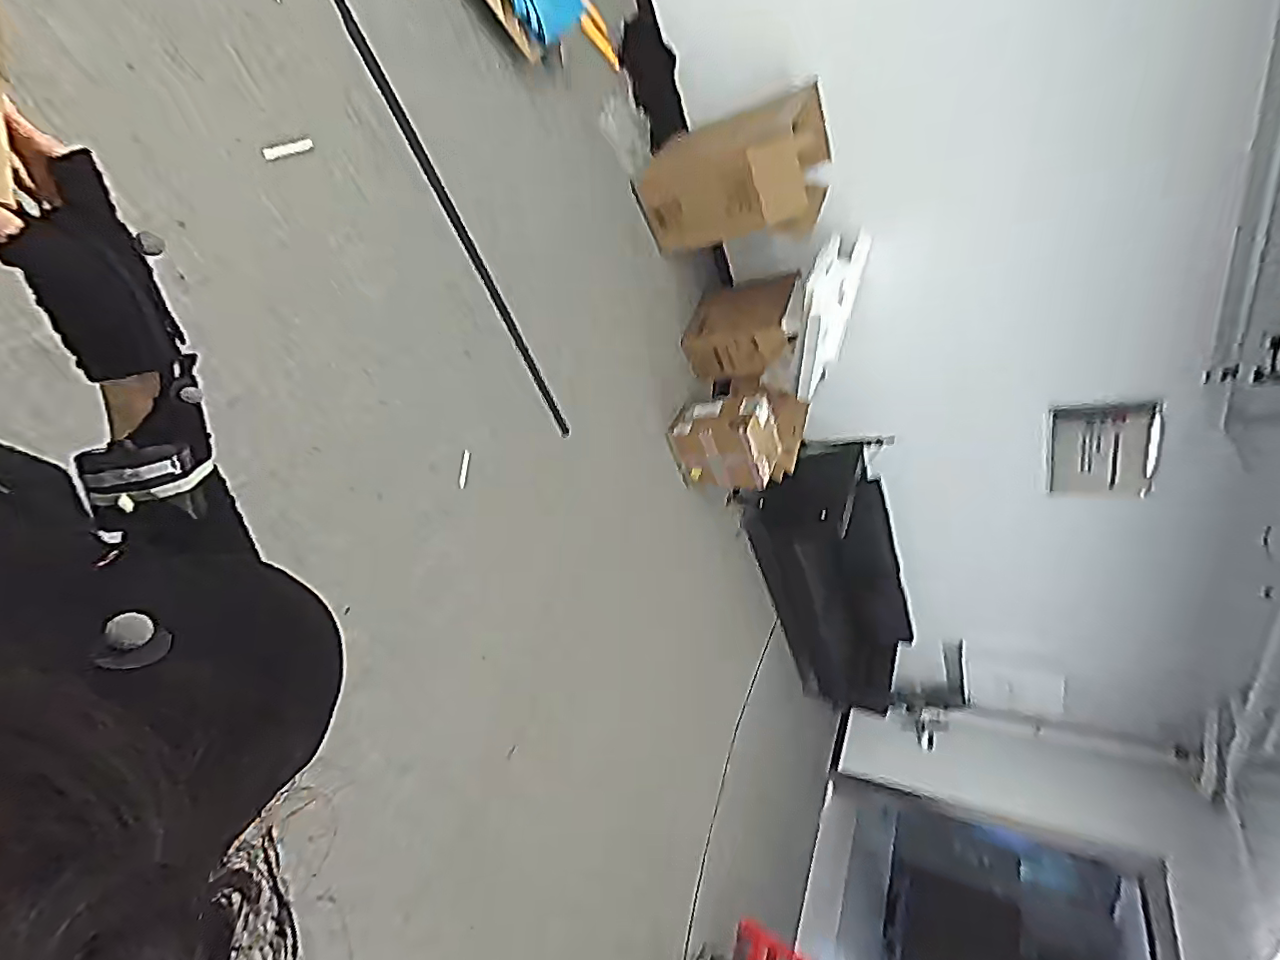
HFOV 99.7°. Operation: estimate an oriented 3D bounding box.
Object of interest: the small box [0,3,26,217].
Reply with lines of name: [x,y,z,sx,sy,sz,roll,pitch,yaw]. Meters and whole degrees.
small box: [-0.458,-0.232,0.263,0.168,0.176,0.179,-12,98,-61]
